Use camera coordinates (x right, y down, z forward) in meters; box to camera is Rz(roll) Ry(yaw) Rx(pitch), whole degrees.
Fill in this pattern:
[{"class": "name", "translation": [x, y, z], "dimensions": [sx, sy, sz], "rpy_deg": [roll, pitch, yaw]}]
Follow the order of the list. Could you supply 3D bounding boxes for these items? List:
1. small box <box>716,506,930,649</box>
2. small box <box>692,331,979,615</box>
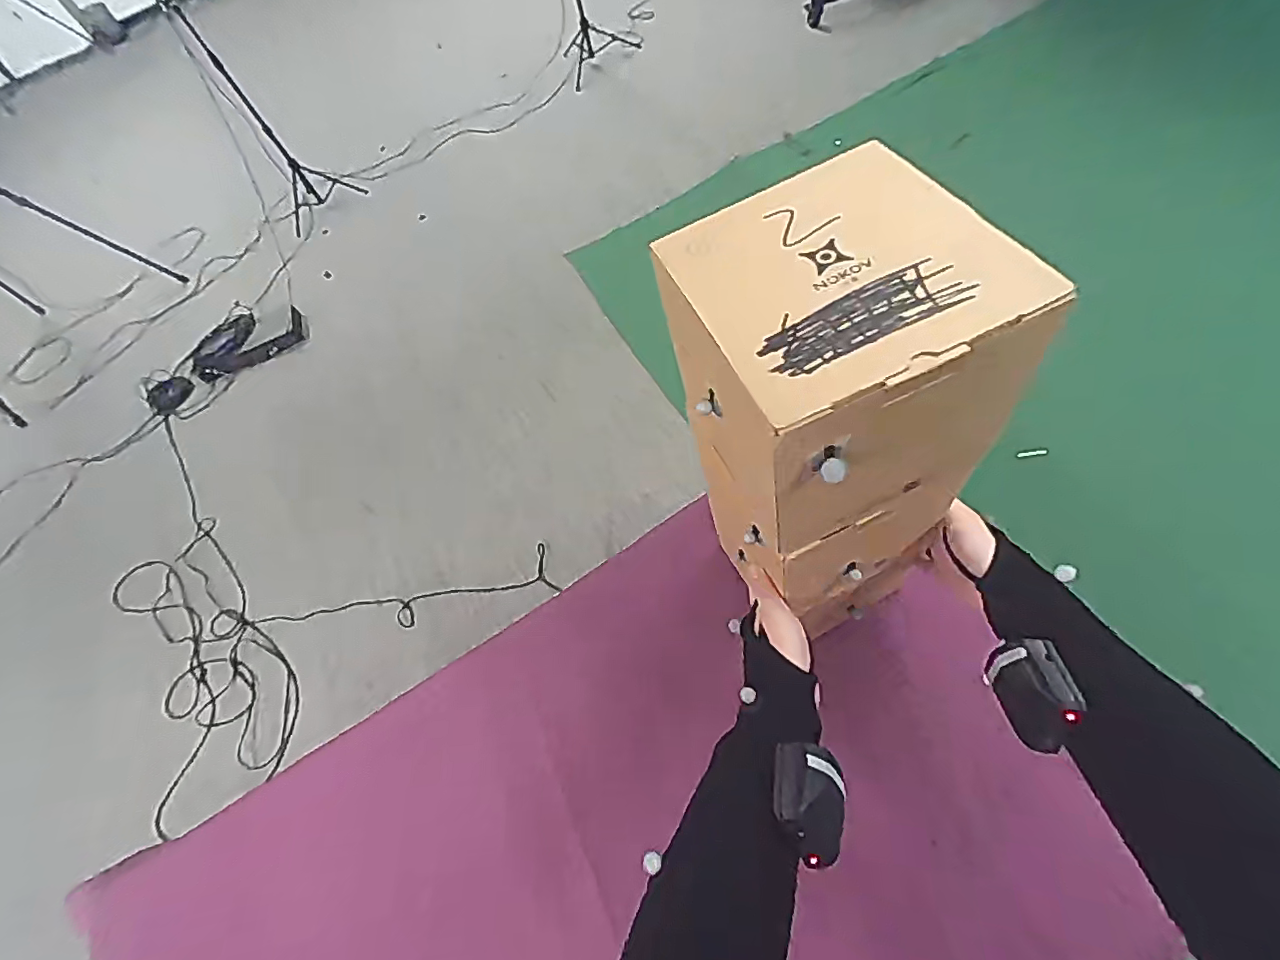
[{"class": "small box", "translation": [0.203, 0.077, 0.652], "dimensions": [0.168, 0.176, 0.179], "rpy_deg": [-29, 59, -2]}, {"class": "small box", "translation": [0.166, 0.001, 0.514], "dimensions": [0.168, 0.176, 0.179], "rpy_deg": [-27, 59, -2]}]
